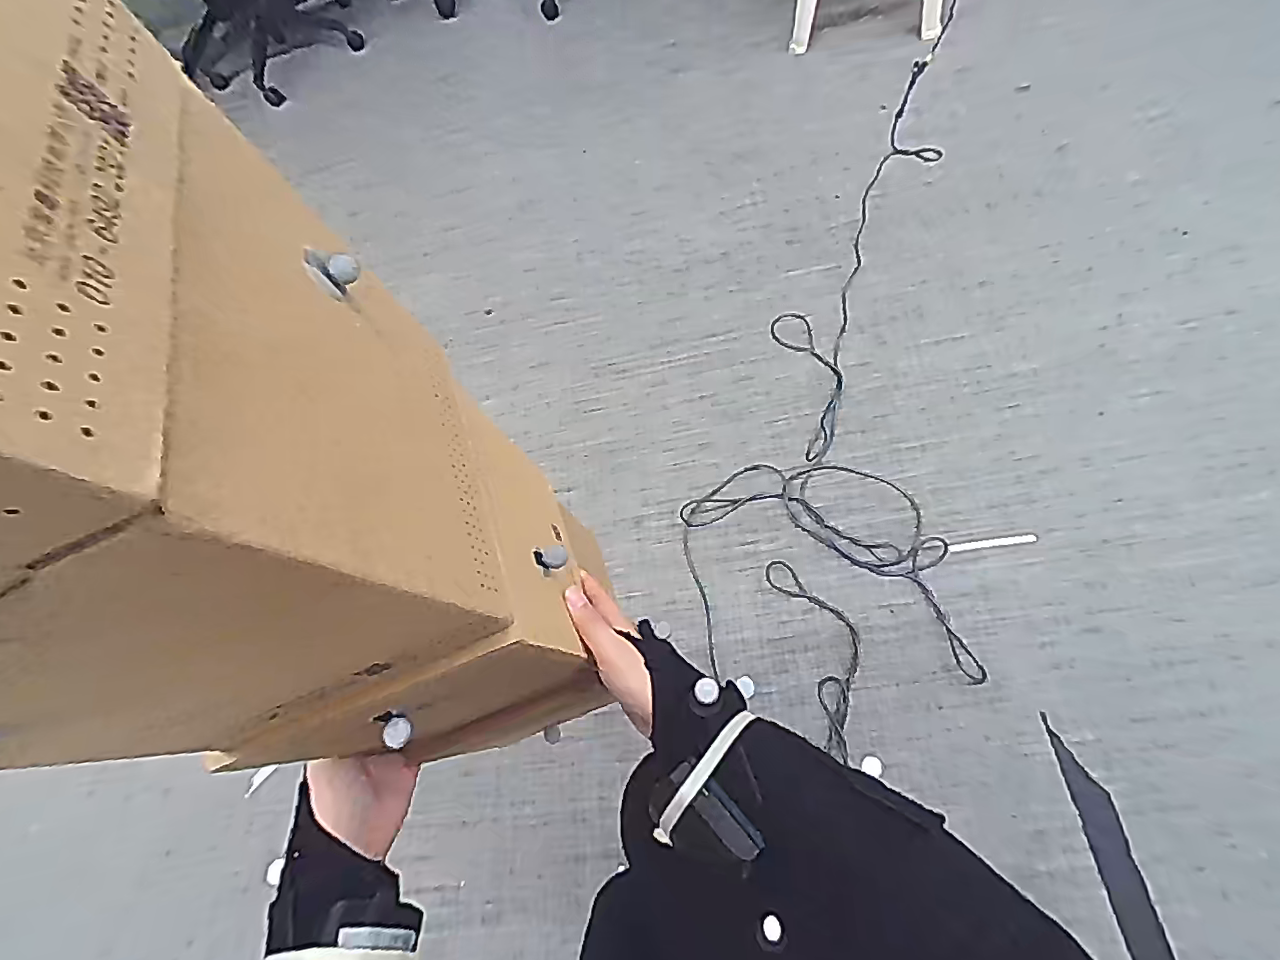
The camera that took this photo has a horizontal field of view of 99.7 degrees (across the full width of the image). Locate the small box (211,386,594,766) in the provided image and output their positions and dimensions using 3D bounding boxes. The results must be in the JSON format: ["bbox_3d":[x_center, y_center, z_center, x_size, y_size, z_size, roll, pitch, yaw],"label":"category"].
[{"bbox_3d":[-0.144,0.071,0.373,0.179,0.176,0.168,-24,65,4],"label":"small box"}]

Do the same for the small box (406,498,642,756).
[{"bbox_3d":[-0.112,0.140,0.517,0.168,0.176,0.179,-23,66,4],"label":"small box"}]
